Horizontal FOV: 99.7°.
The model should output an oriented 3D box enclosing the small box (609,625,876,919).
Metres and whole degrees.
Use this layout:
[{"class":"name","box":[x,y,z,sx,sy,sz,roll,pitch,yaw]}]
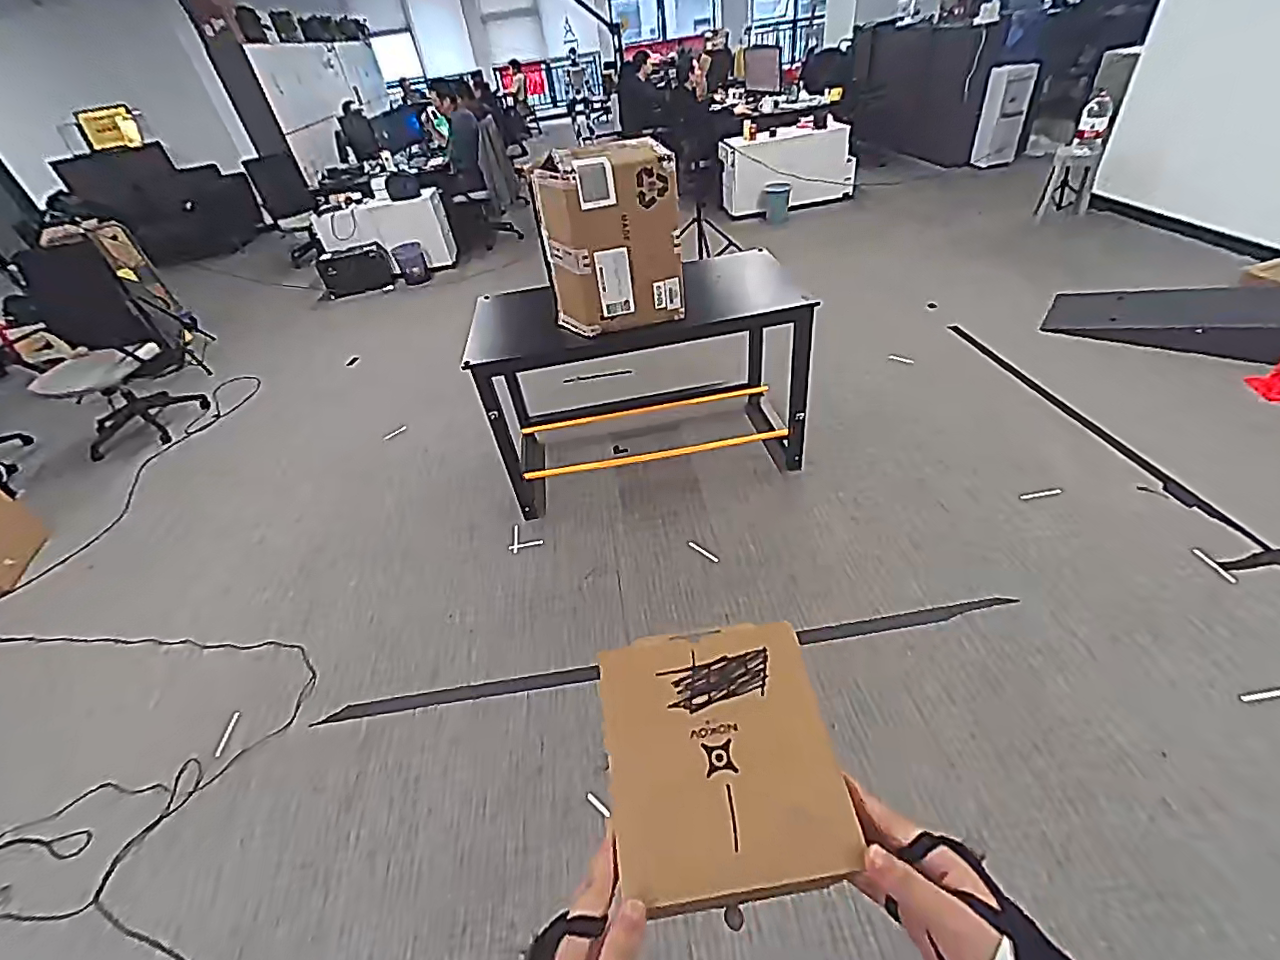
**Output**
[{"class":"small box","box":[0.068,0.250,0.462,0.168,0.176,0.179,-9,50,-1]}]
